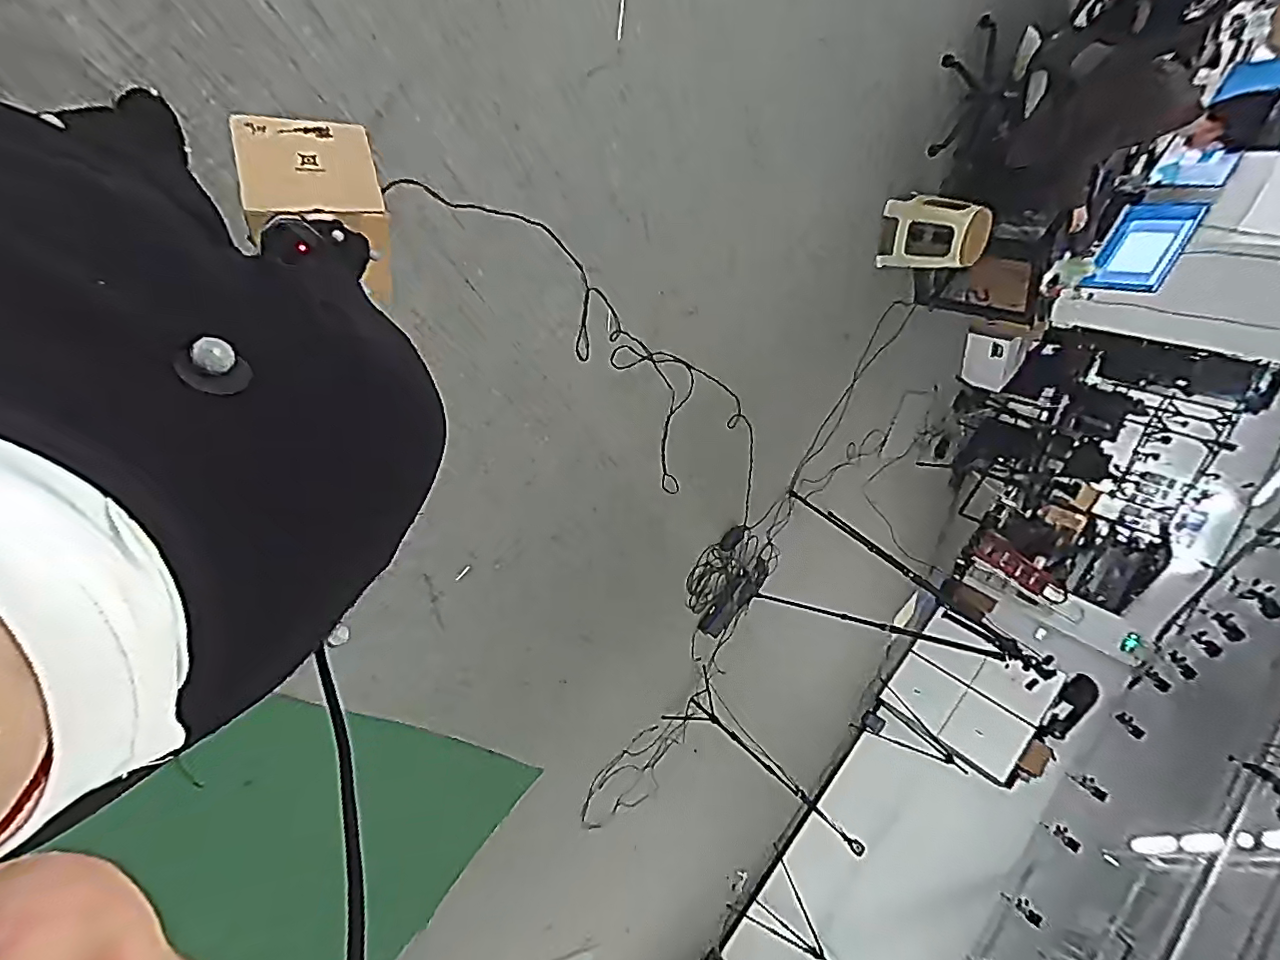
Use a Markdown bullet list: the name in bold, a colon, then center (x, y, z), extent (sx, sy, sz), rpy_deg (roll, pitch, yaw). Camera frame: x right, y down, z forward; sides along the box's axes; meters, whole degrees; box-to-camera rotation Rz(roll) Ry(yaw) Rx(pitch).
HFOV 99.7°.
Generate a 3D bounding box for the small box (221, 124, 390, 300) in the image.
- **small box**: center (-0.482, -0.385, 0.800), extent (0.168, 0.179, 0.176), rpy_deg (-15, 162, -24)
